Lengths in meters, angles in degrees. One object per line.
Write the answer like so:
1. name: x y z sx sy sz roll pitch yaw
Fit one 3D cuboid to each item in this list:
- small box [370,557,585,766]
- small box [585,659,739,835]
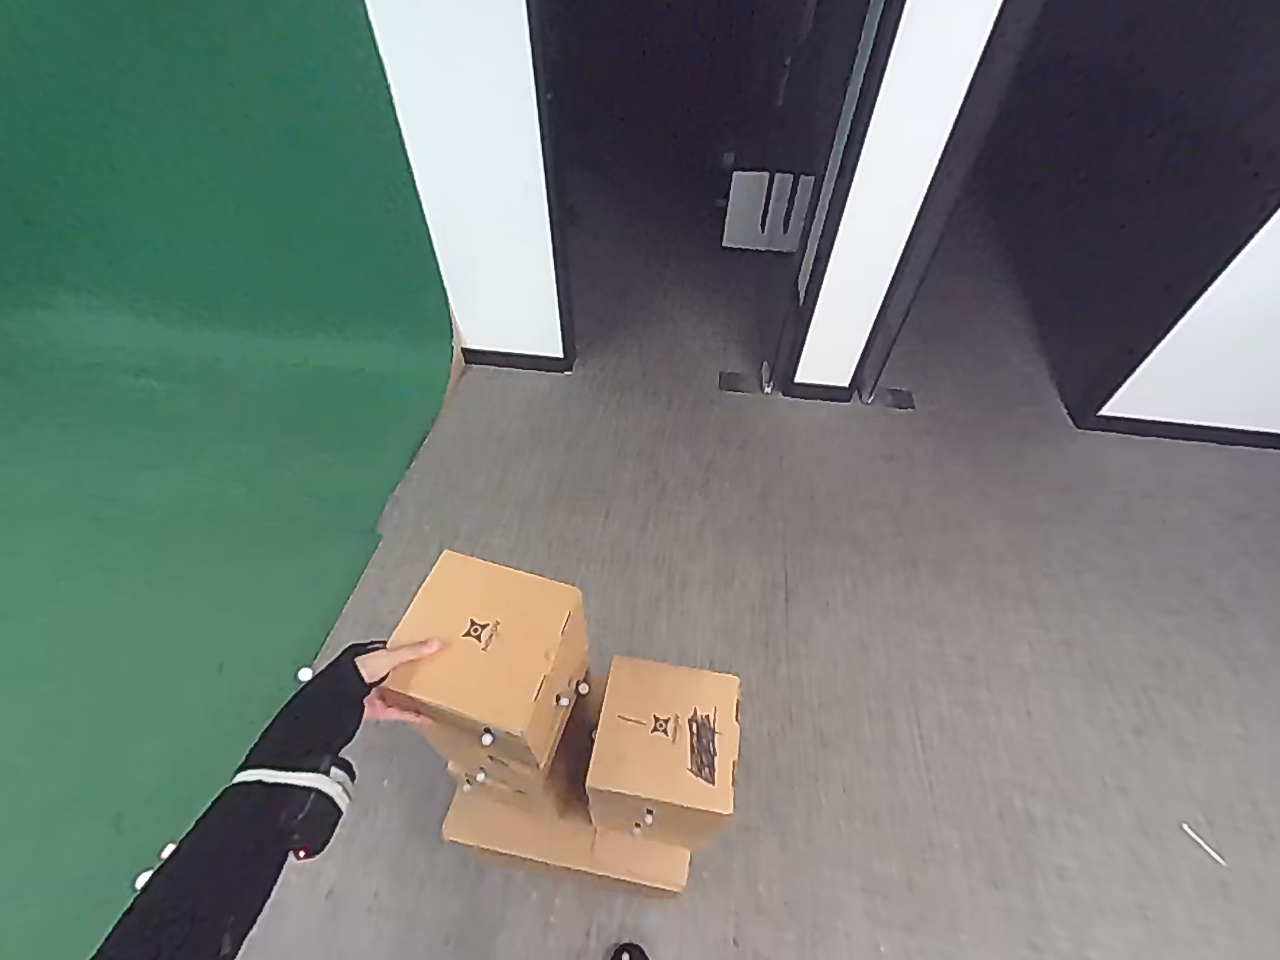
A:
1. small box: -0.175 0.221 0.649 0.179 0.176 0.168 13 52 9
2. small box: 0.033 0.370 0.741 0.179 0.176 0.168 7 49 7
